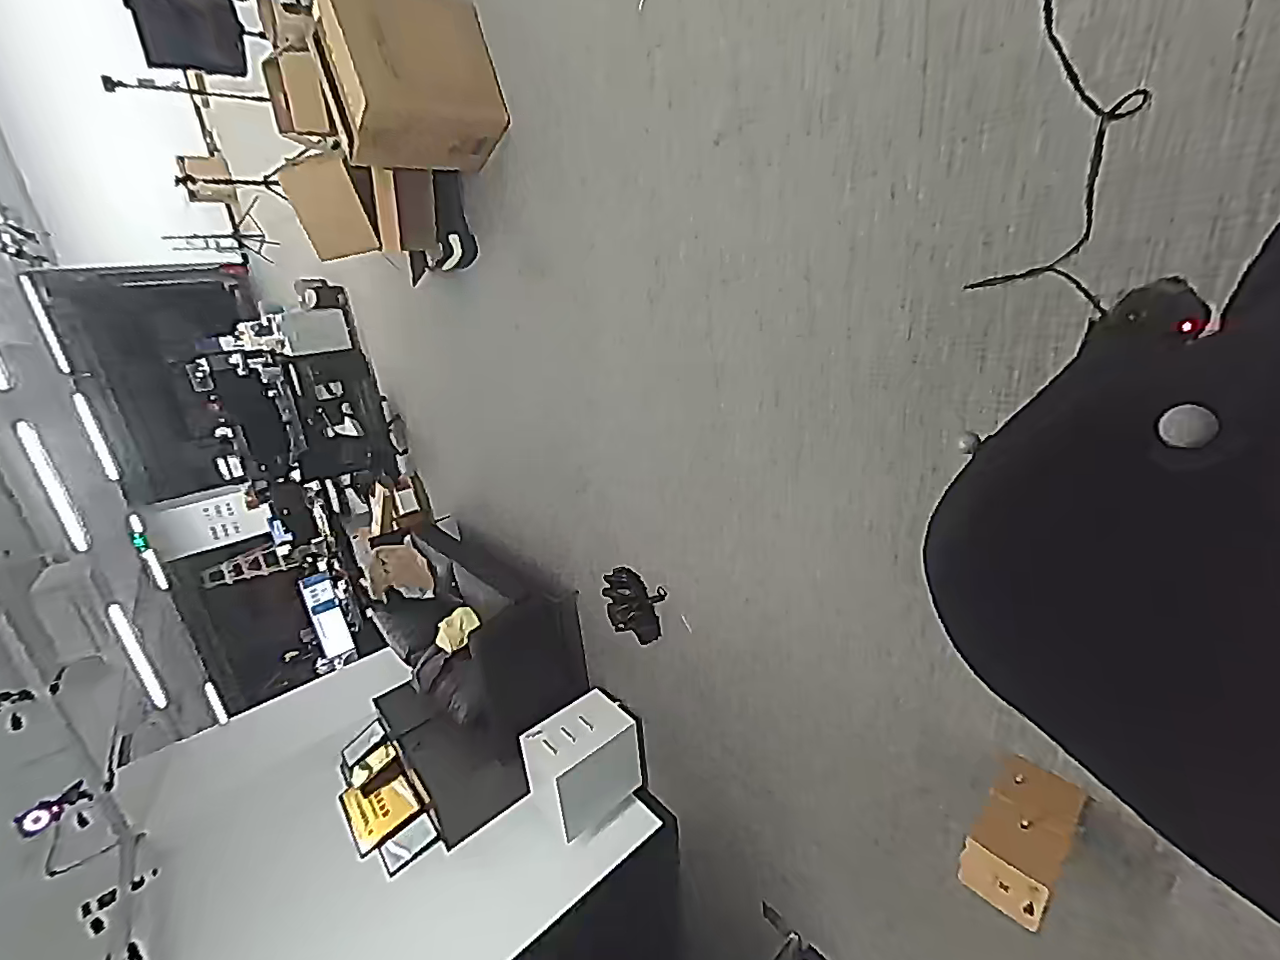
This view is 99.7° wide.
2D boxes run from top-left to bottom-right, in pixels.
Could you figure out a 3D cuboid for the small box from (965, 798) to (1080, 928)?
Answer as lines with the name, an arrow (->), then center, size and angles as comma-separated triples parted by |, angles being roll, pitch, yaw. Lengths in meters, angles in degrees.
small box -> 0.950, 0.936, 1.347 | 0.179, 0.176, 0.168 | 22, 125, 47
